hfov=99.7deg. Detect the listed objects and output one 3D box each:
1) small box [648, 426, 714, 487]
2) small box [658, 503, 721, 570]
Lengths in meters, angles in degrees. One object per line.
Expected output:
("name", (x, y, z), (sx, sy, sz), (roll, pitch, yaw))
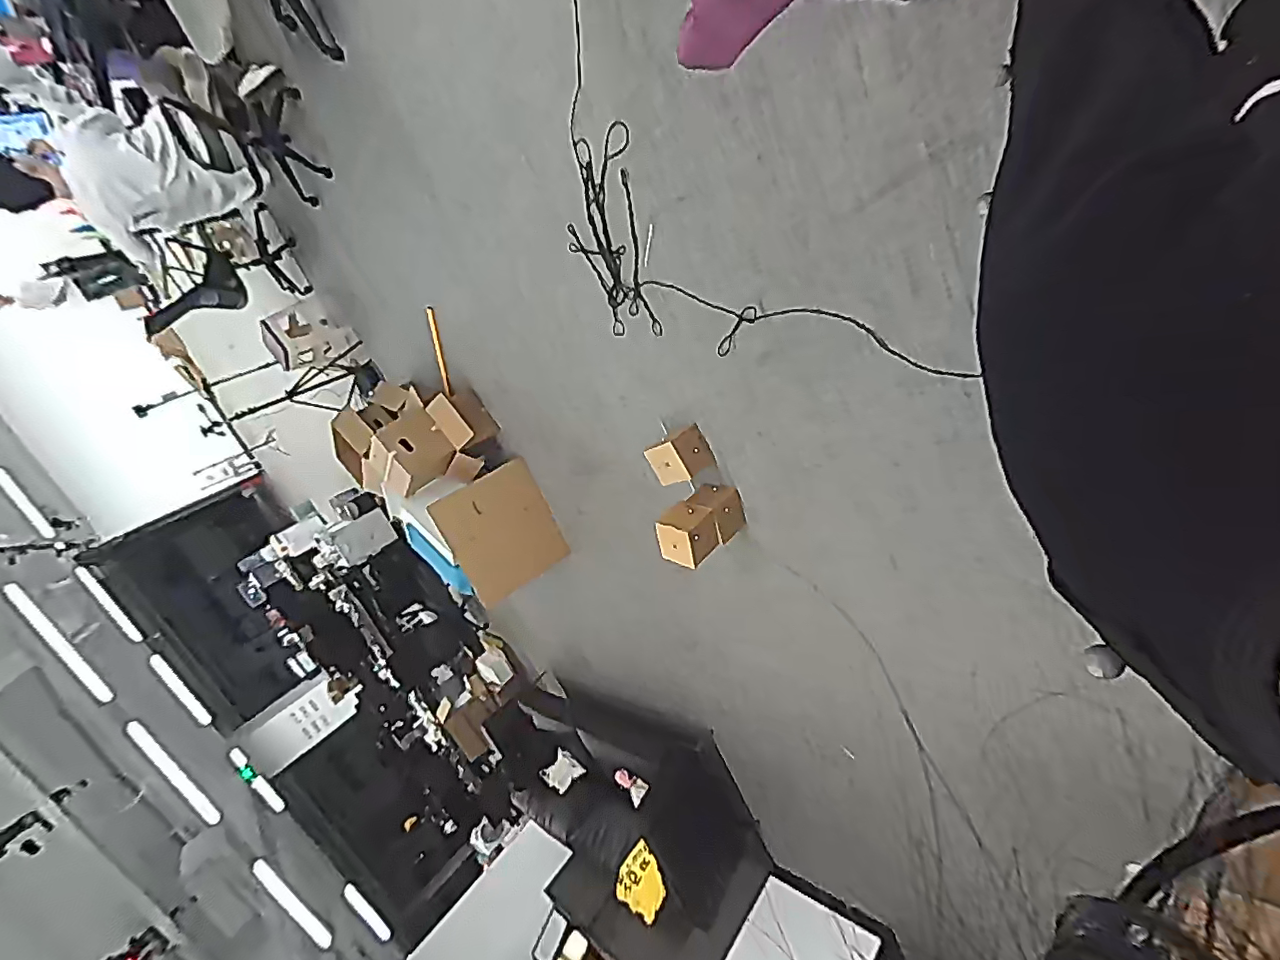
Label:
("small box", (0.172, -0.094, 2.147), (0.179, 0.176, 0.168), (-18, 106, 53))
("small box", (0.199, 0.215, 2.101), (0.168, 0.176, 0.179), (14, 128, 42))
